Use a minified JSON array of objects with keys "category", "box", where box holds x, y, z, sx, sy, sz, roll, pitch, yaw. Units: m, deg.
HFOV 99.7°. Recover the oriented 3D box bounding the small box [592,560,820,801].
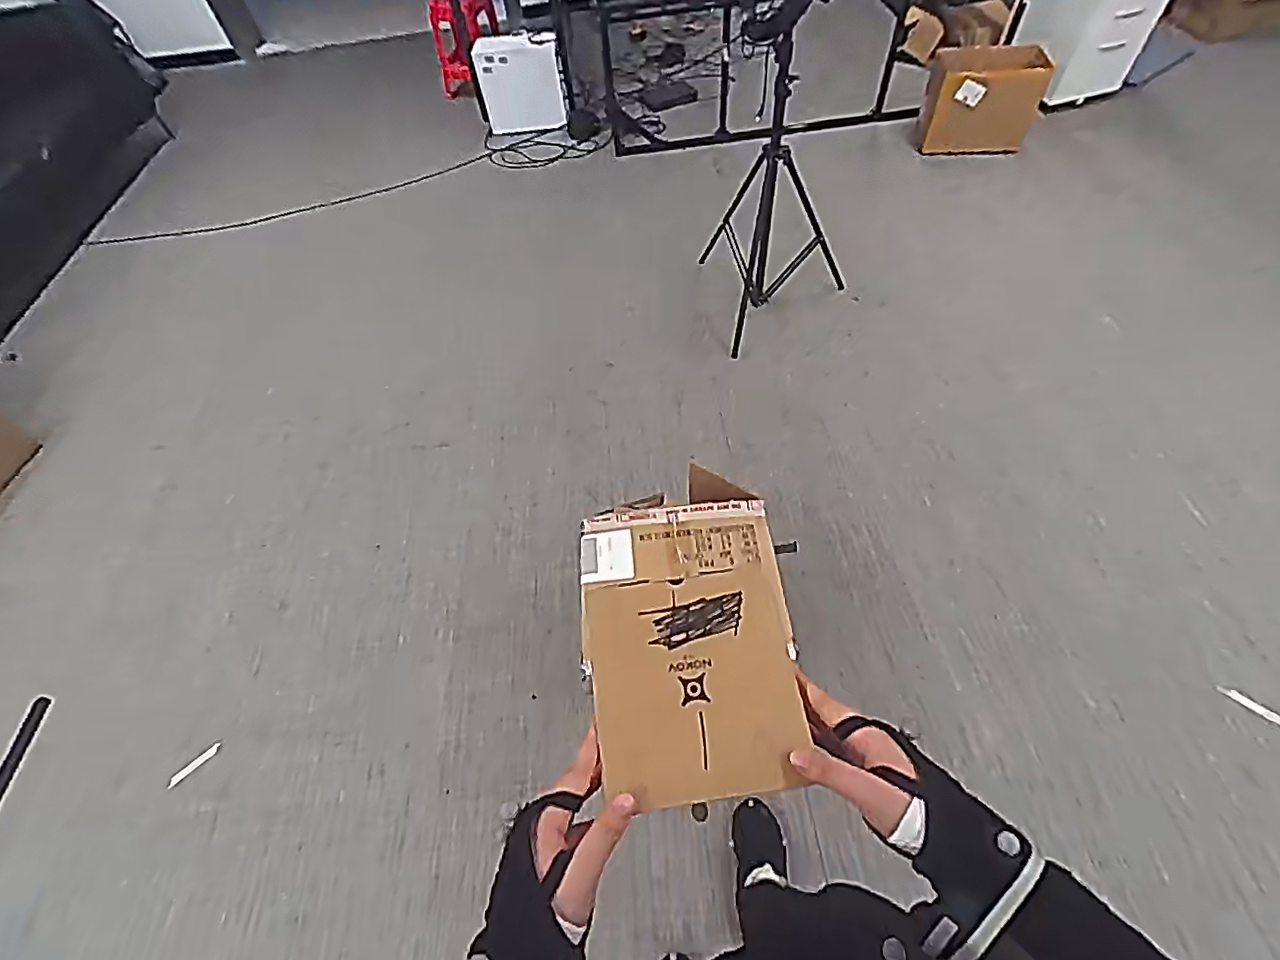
[{"category":"small box","box":[0.048,0.196,0.518,0.168,0.176,0.179,-8,61,-2]}]
